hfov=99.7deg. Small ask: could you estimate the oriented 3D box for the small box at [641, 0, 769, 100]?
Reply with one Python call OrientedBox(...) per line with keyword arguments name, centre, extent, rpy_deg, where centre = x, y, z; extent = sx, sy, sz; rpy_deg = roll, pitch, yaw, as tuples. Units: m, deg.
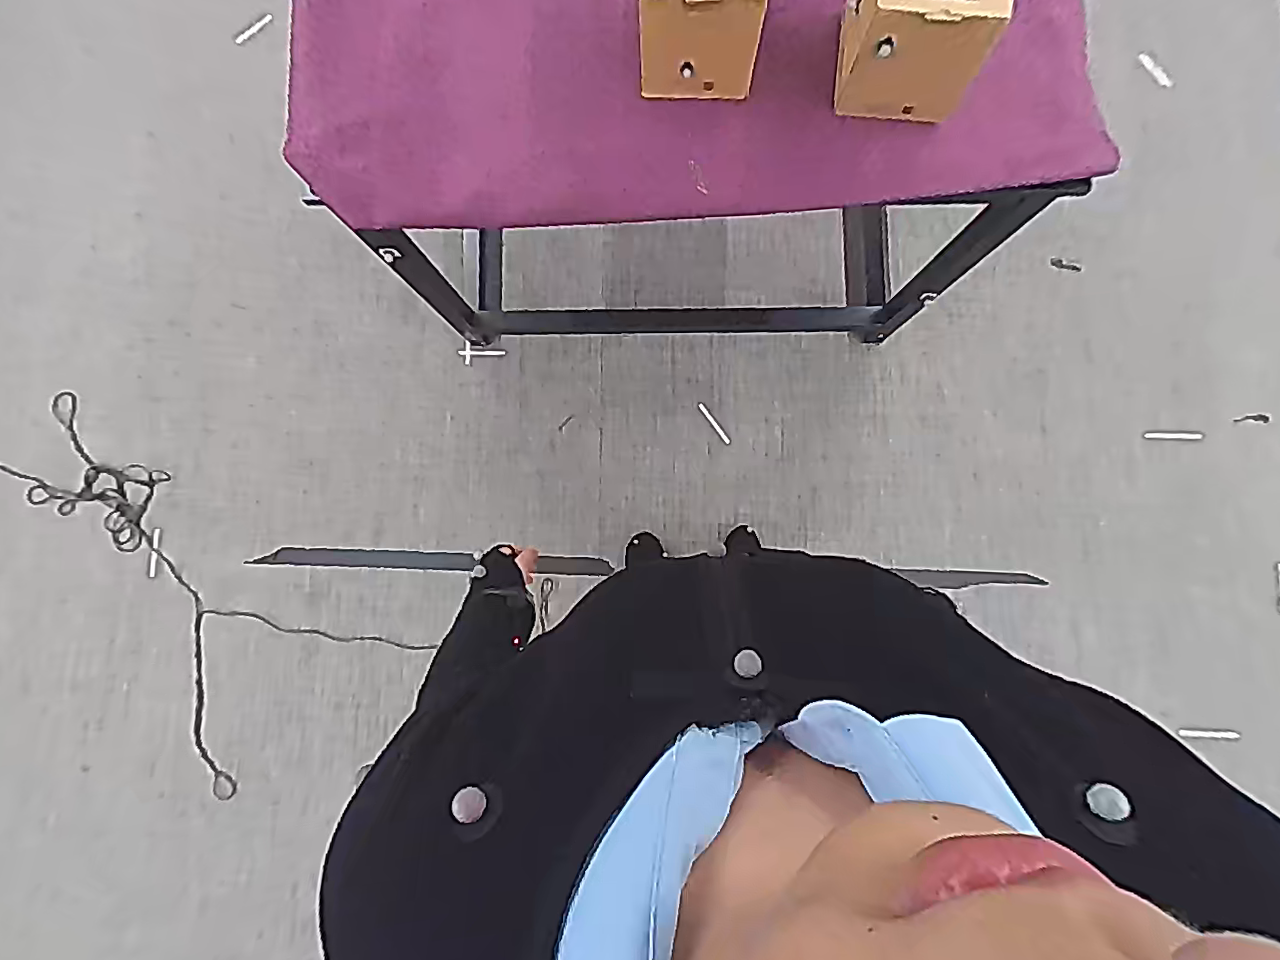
OrientedBox(name="small box", centre=(0.087, -0.687, 0.766), extent=(0.168, 0.176, 0.179), rpy_deg=(2, 86, 1))
